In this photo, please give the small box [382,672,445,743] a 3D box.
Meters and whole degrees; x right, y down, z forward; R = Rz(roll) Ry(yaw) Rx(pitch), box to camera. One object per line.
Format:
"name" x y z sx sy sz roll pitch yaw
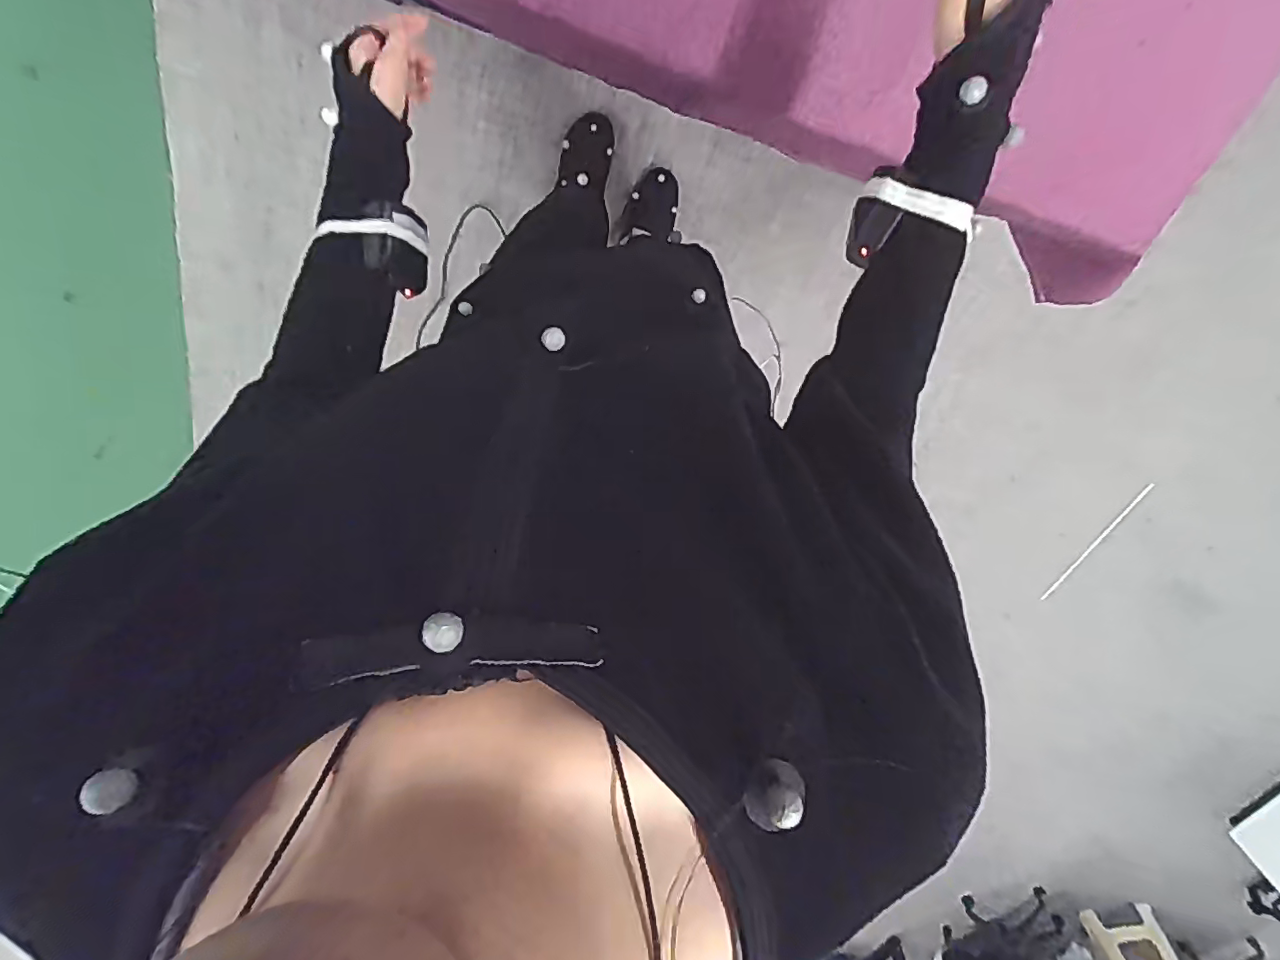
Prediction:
"small box" -0.840 0.841 2.009 0.179 0.176 0.168 13 118 -5
